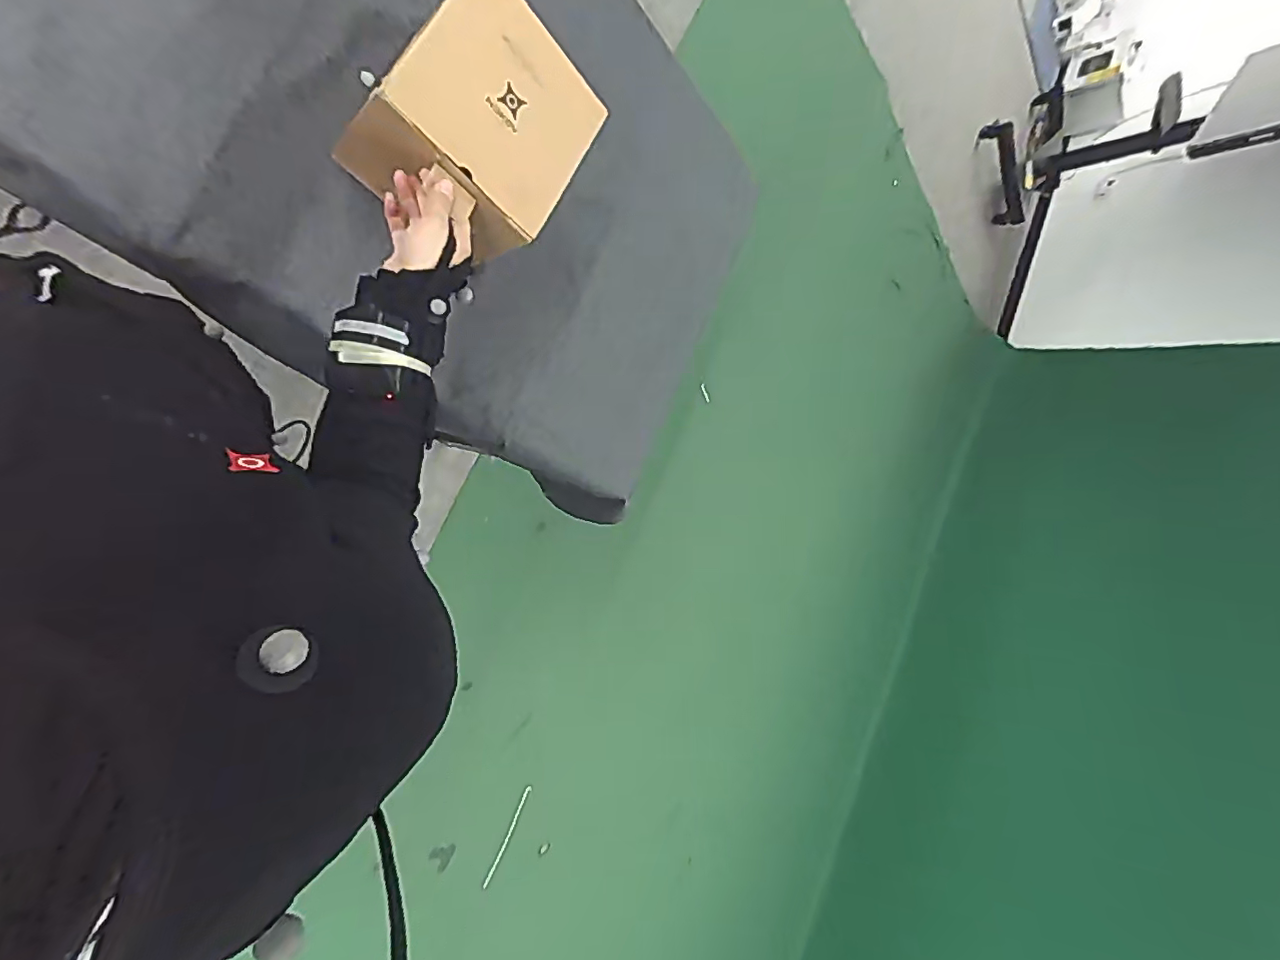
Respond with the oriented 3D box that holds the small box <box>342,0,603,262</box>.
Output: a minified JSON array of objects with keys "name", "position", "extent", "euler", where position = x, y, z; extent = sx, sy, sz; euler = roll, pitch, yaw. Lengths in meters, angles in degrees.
[{"name":"small box","position":[-0.176,-0.354,0.555],"extent":[0.168,0.176,0.179],"euler":[36,73,-41]}]
